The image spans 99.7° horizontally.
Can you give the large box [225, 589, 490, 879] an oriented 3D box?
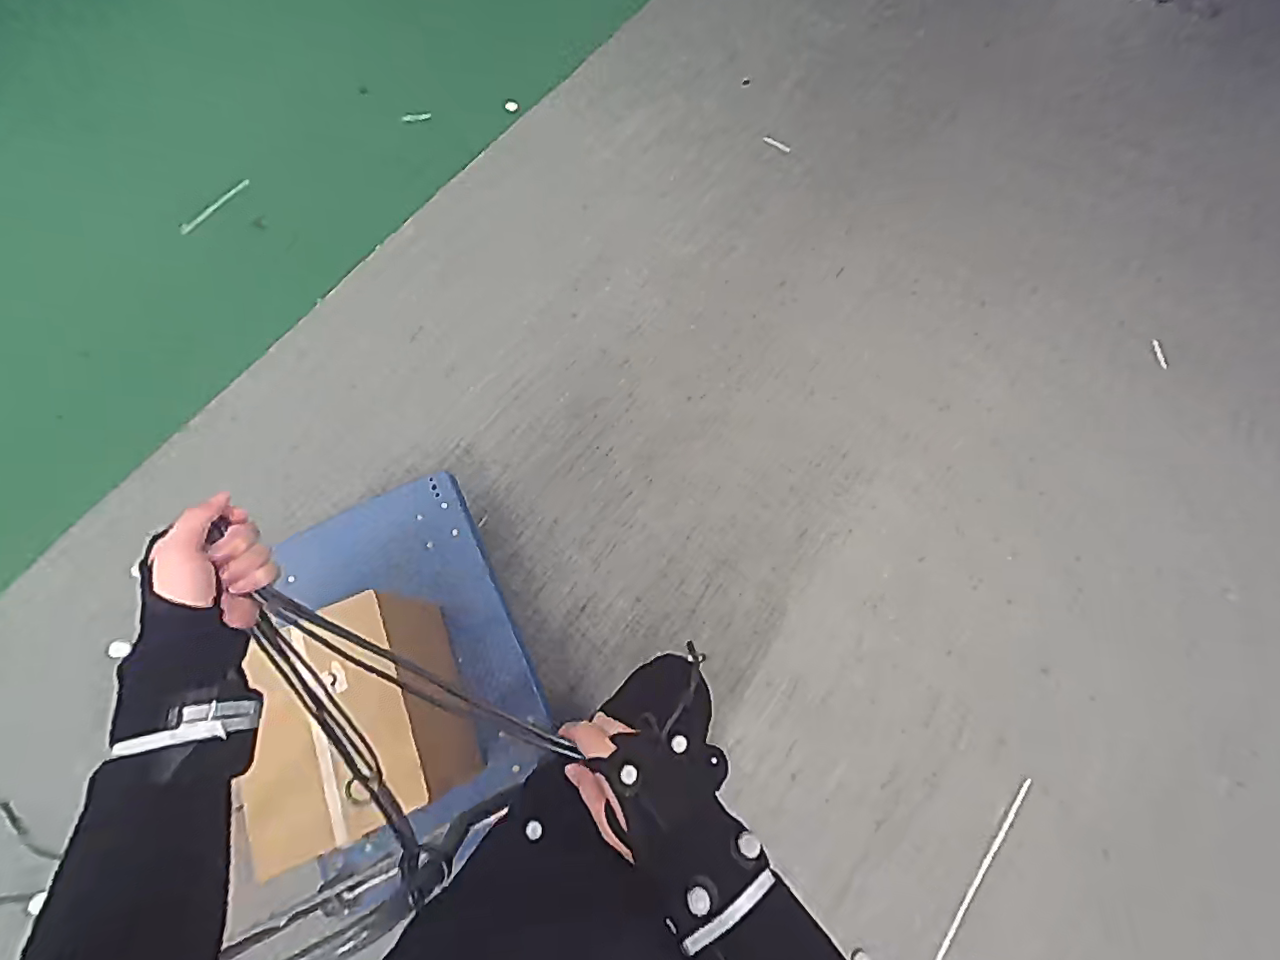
[{"bbox_3d":[-0.557,0.486,1.114,0.320,0.320,0.408,-24,71,-5],"label":"large box"}]
